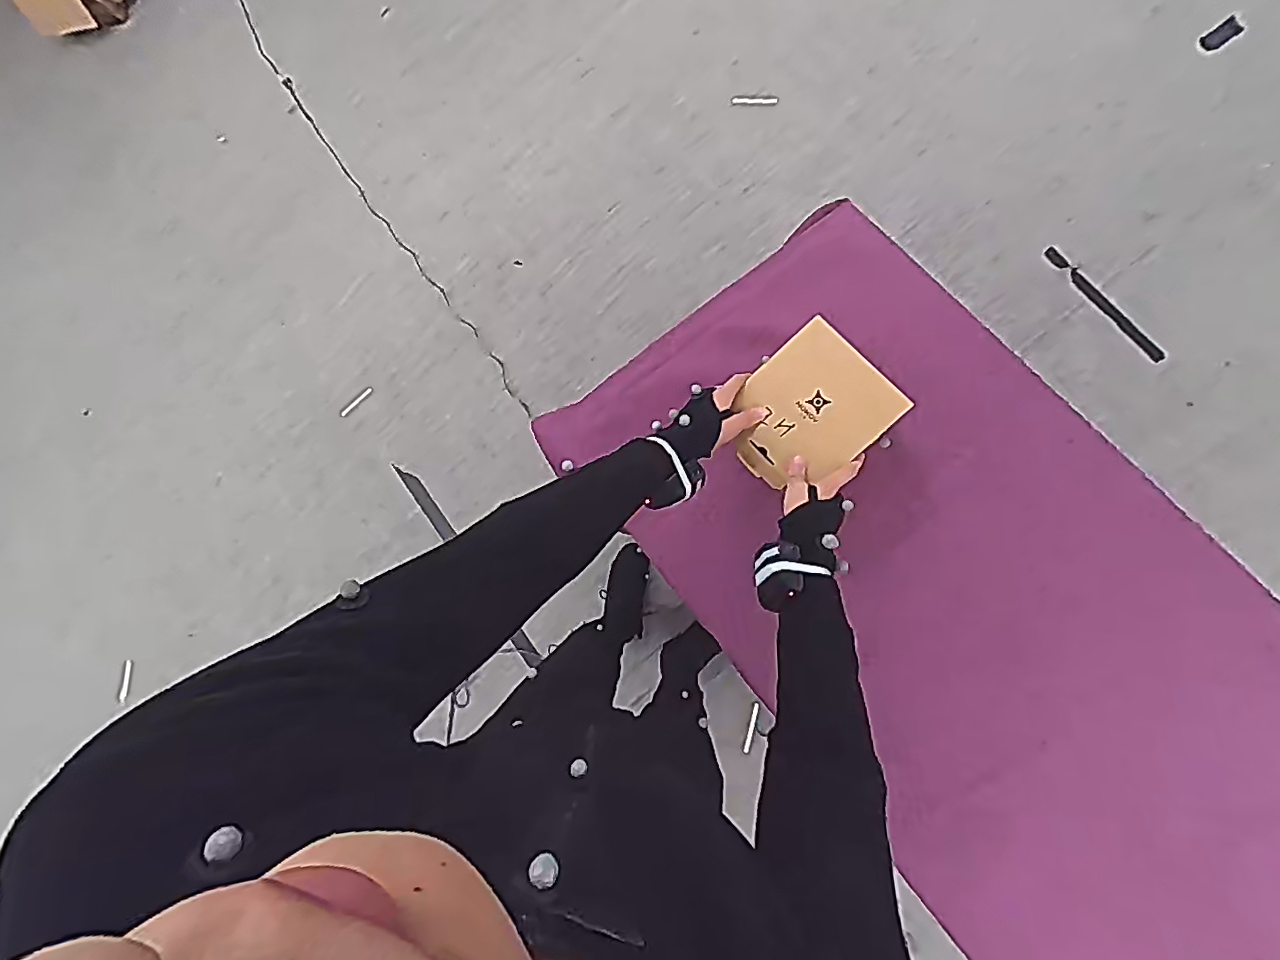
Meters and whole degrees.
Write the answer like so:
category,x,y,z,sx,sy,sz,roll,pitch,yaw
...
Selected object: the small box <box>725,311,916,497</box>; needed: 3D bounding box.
category,x,y,z,sx,sy,sz,roll,pitch,yaw
small box,0.236,-0.094,0.755,0.179,0.176,0.168,-42,78,5
